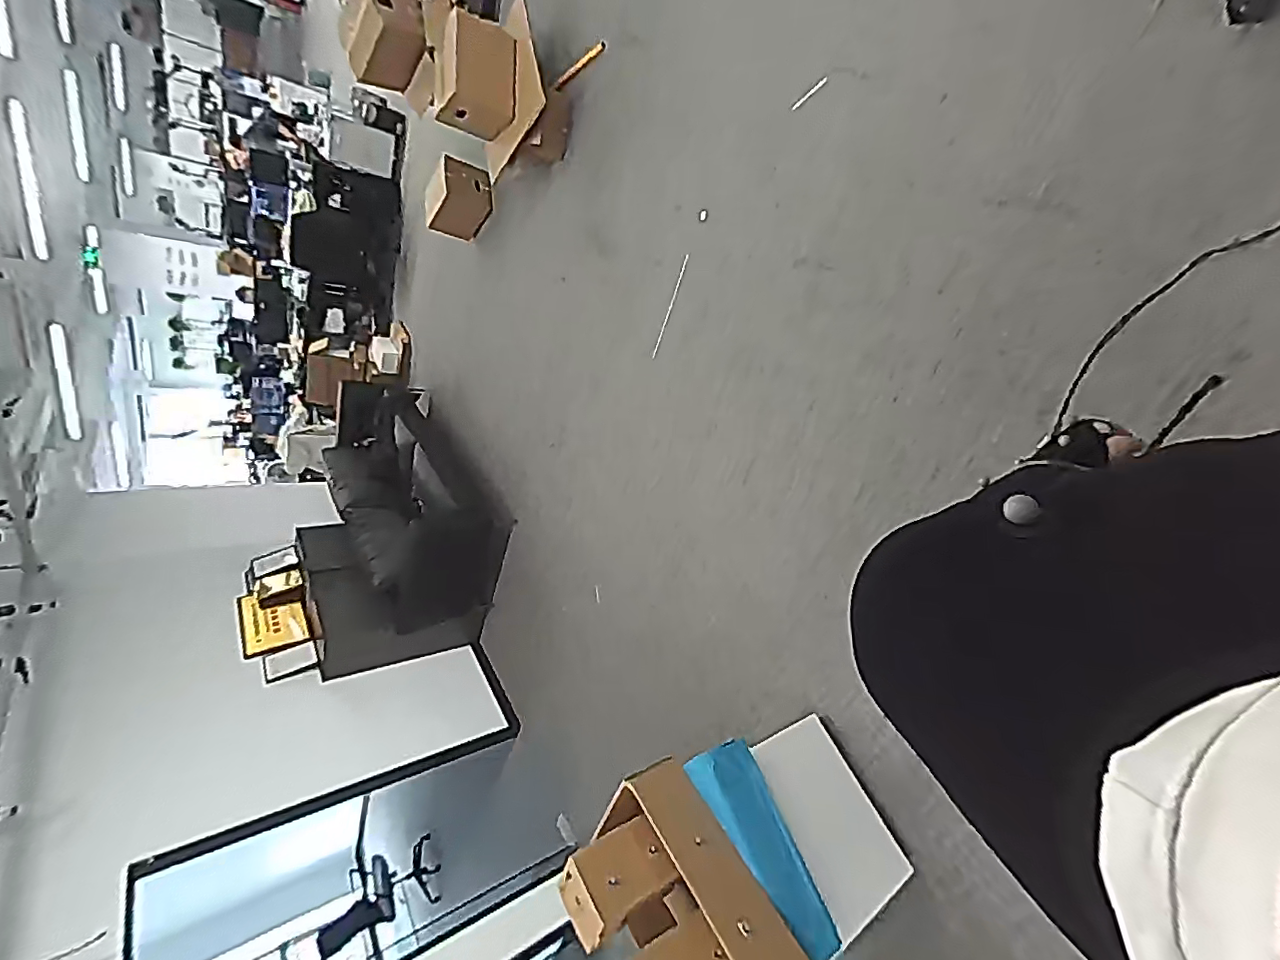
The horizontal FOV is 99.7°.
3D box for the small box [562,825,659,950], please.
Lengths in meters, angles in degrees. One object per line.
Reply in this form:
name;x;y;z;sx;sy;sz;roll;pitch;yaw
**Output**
small box;-0.077;1.065;1.426;0.179;0.176;0.168;44;126;38
